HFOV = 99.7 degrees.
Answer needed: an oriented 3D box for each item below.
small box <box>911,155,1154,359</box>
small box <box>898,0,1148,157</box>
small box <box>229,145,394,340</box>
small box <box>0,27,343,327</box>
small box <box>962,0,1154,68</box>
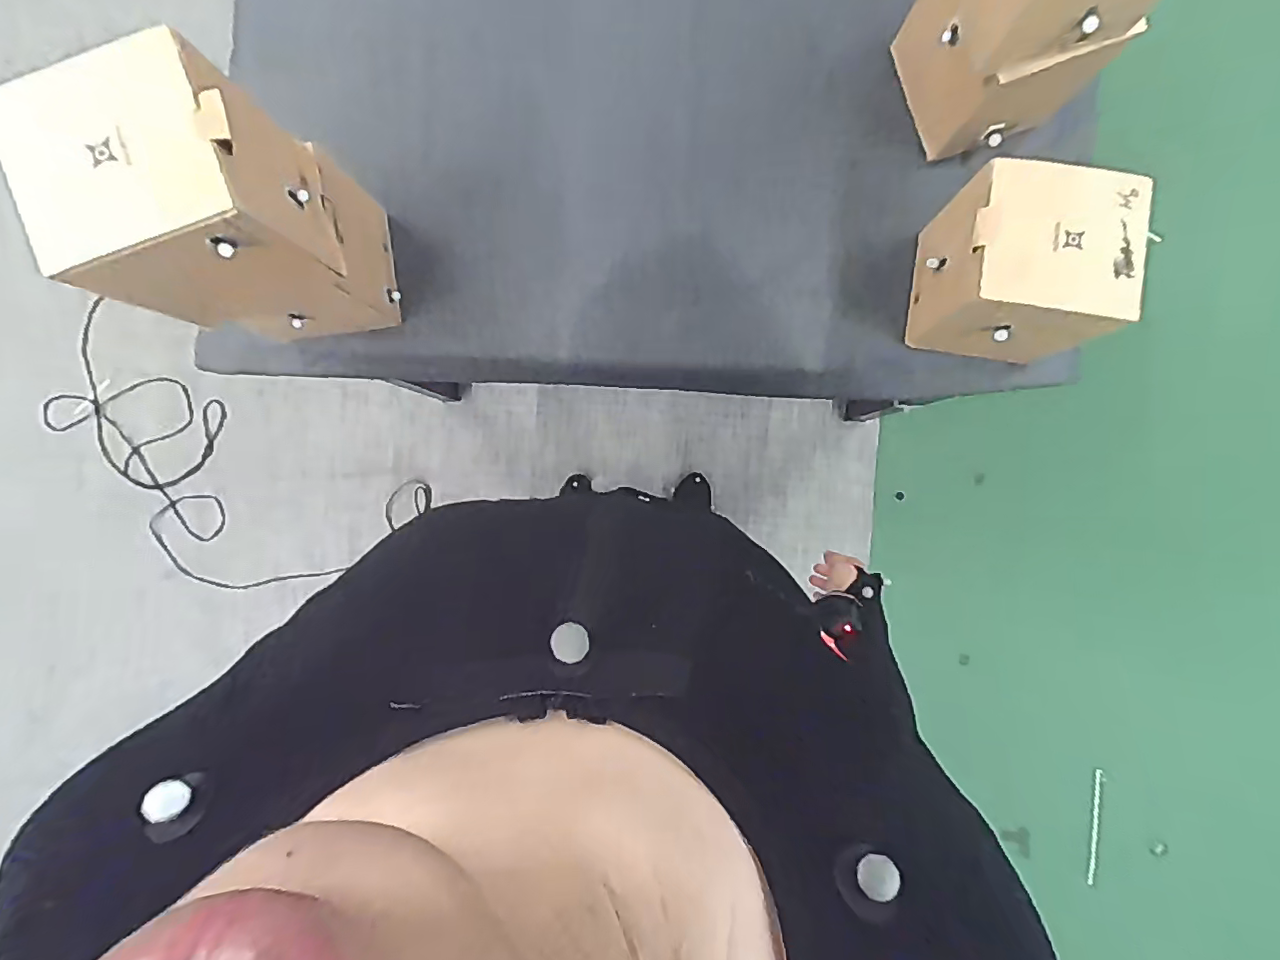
[{"bbox_3d":[0.459,-0.258,0.662,0.179,0.176,0.168,9,87,3],"label":"small box"},{"bbox_3d":[0.447,-0.547,0.664,0.168,0.176,0.179,-19,92,5],"label":"small box"},{"bbox_3d":[-0.437,-0.288,0.691,0.179,0.176,0.168,-8,91,2],"label":"small box"},{"bbox_3d":[-0.439,-0.270,0.529,0.179,0.176,0.168,-20,91,1],"label":"small box"},{"bbox_3d":[0.417,-0.544,0.500,0.168,0.176,0.179,-15,91,5],"label":"small box"}]
